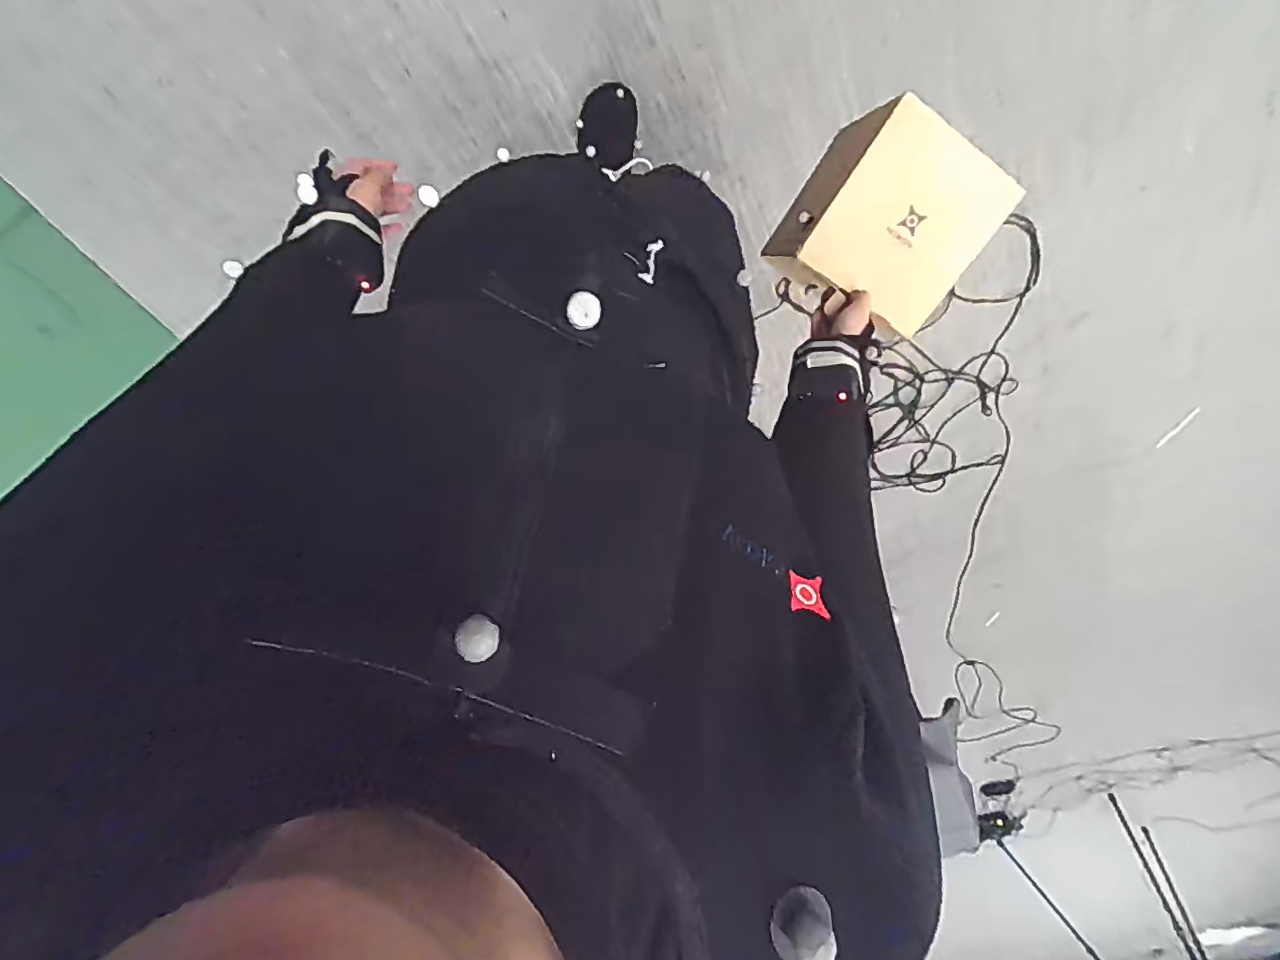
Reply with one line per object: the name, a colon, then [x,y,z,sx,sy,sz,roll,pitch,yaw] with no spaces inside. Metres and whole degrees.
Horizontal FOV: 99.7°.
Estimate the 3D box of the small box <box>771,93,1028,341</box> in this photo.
small box: [0.276,-0.291,0.625,0.168,0.176,0.179,29,110,-13]
